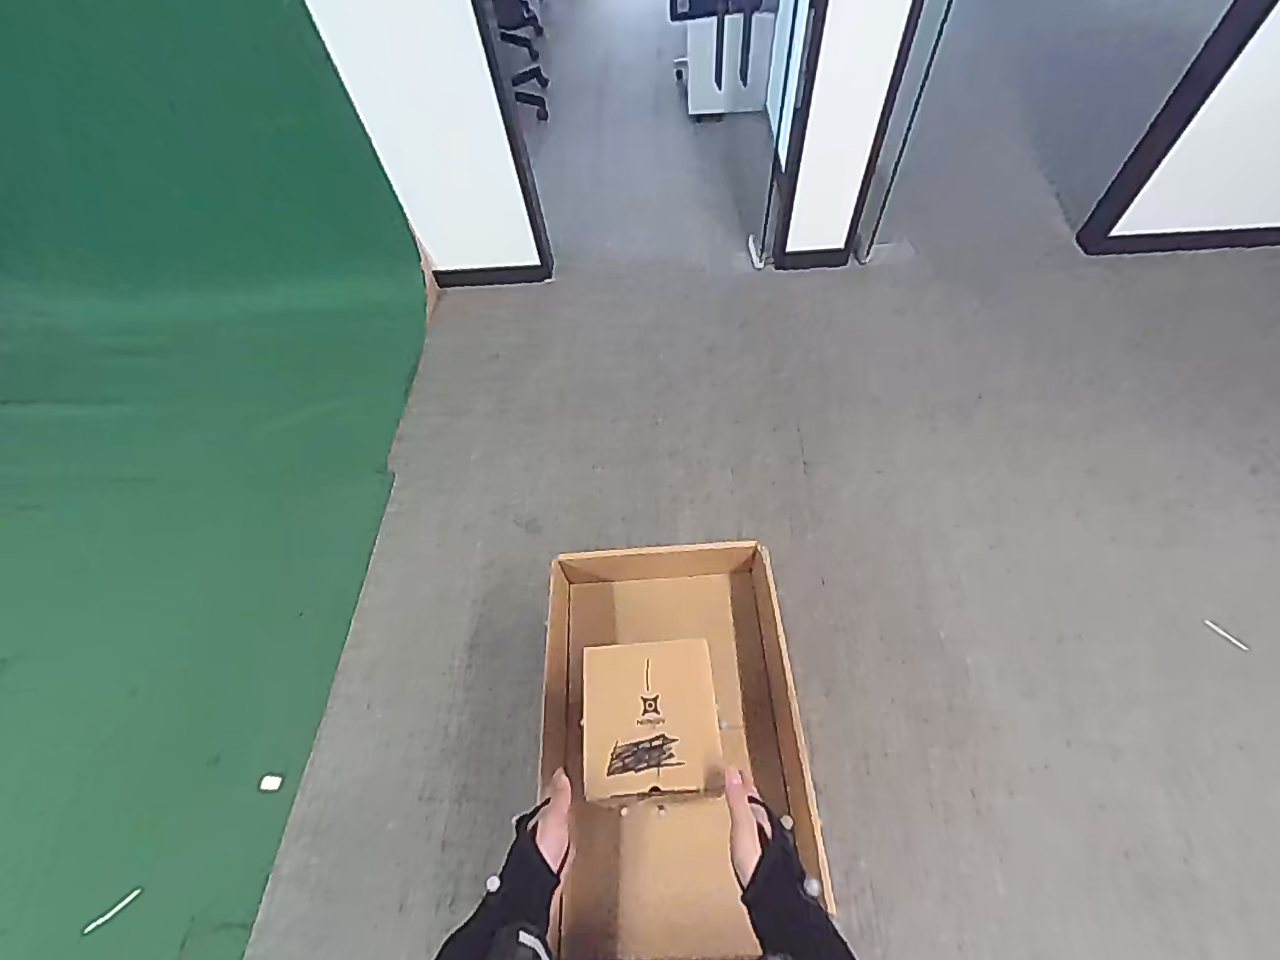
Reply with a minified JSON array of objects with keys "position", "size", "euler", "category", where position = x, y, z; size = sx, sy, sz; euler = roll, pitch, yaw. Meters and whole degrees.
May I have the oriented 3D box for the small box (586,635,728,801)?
[{"position":[0.022,0.323,0.722],"size":[0.168,0.176,0.179],"euler":[-5,56,1],"category":"small box"}]
